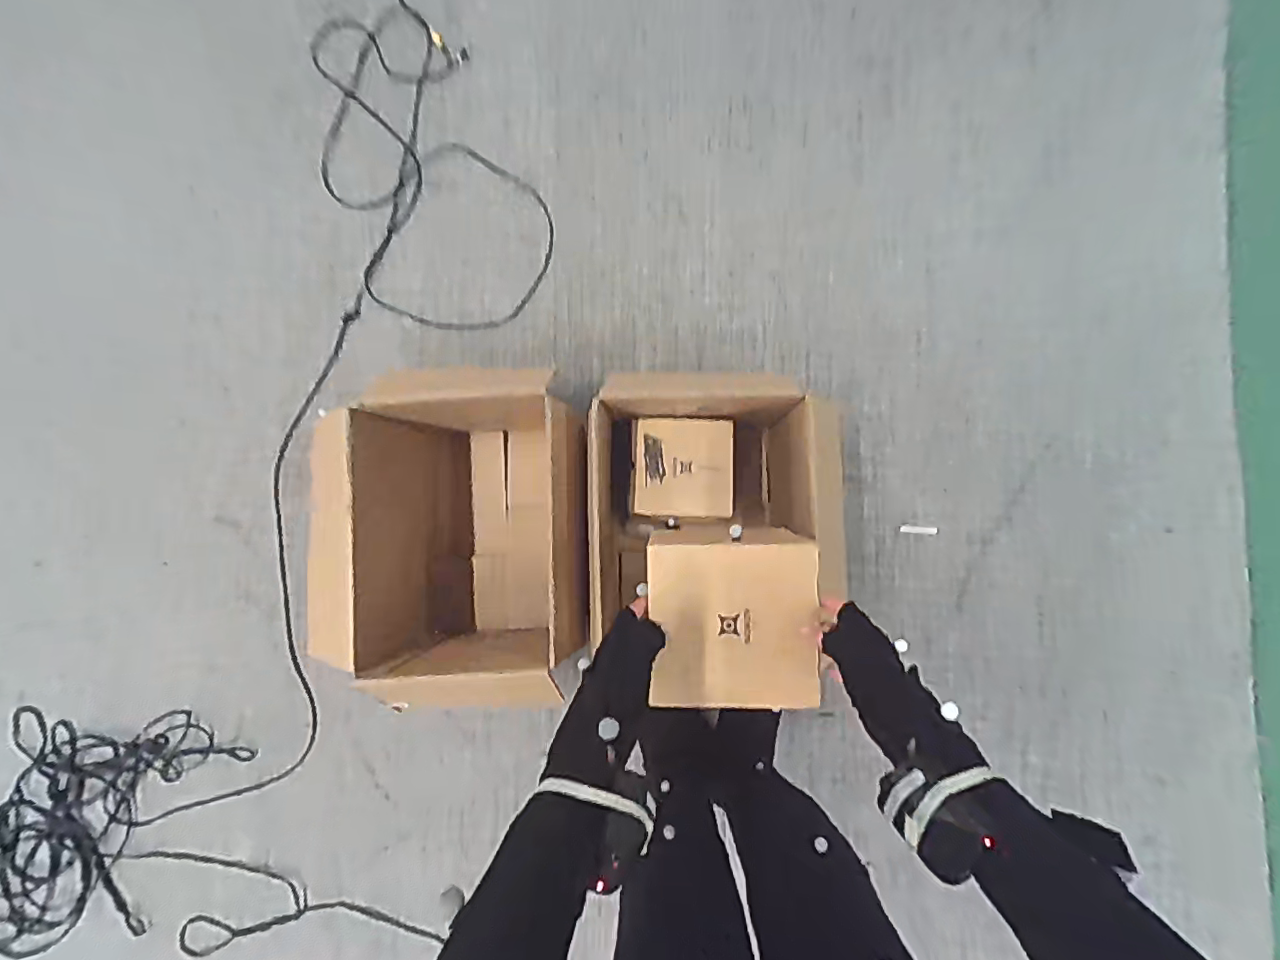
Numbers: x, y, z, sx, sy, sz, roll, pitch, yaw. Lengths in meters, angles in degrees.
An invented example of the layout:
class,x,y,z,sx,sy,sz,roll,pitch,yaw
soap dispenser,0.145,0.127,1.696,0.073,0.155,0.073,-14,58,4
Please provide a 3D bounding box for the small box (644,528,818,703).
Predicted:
class,x,y,z,sx,sy,sz,roll,pitch,yaw
small box,0.096,0.145,0.629,0.179,0.176,0.168,-1,89,2
